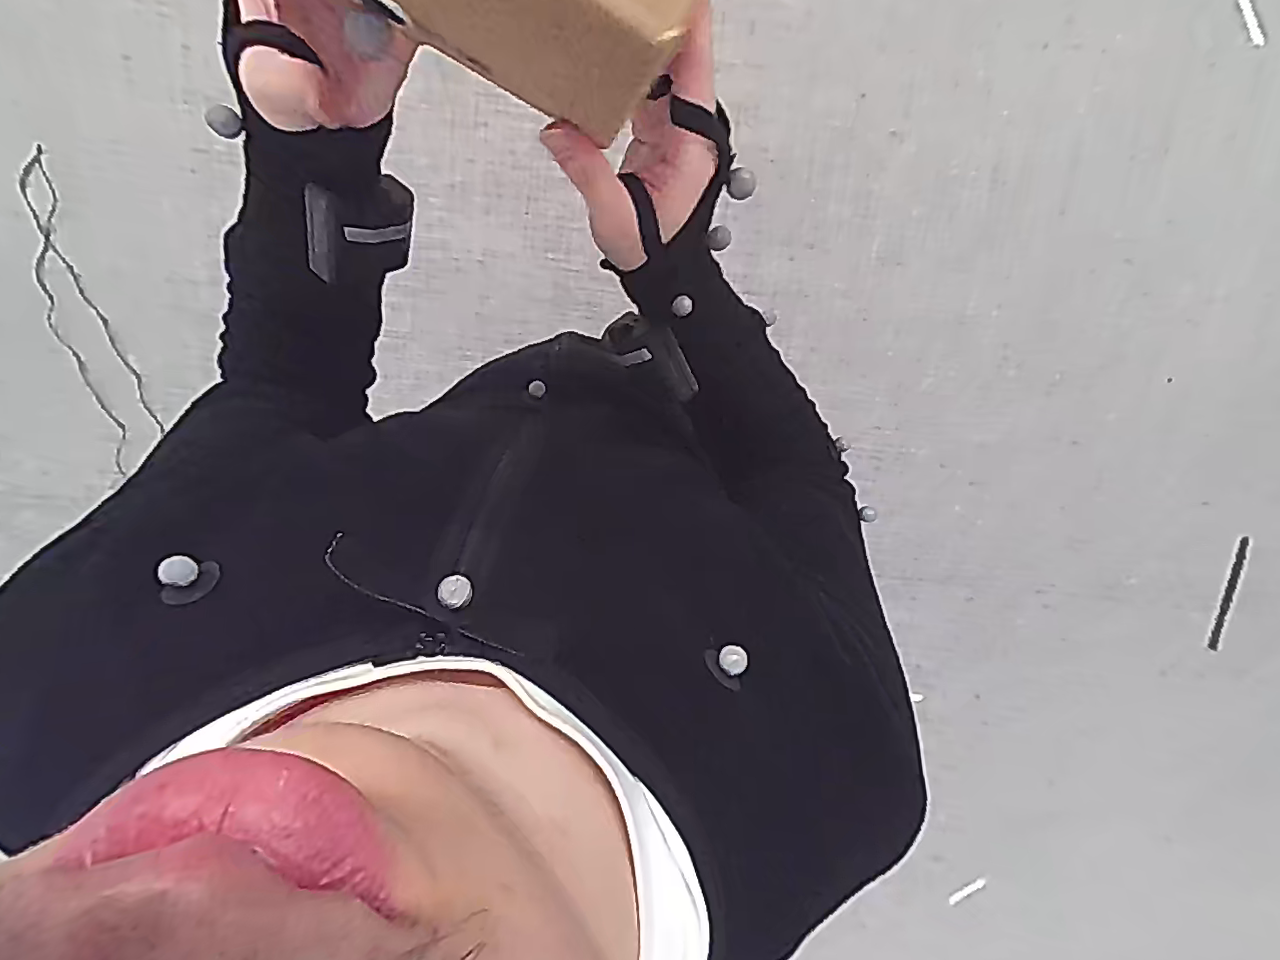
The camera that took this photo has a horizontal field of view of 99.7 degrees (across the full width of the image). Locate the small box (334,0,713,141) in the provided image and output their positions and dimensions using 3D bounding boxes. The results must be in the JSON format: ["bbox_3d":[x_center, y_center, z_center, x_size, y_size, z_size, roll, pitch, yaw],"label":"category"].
[{"bbox_3d":[-0.037,-0.227,0.142,0.168,0.176,0.179,20,110,-16],"label":"small box"}]
